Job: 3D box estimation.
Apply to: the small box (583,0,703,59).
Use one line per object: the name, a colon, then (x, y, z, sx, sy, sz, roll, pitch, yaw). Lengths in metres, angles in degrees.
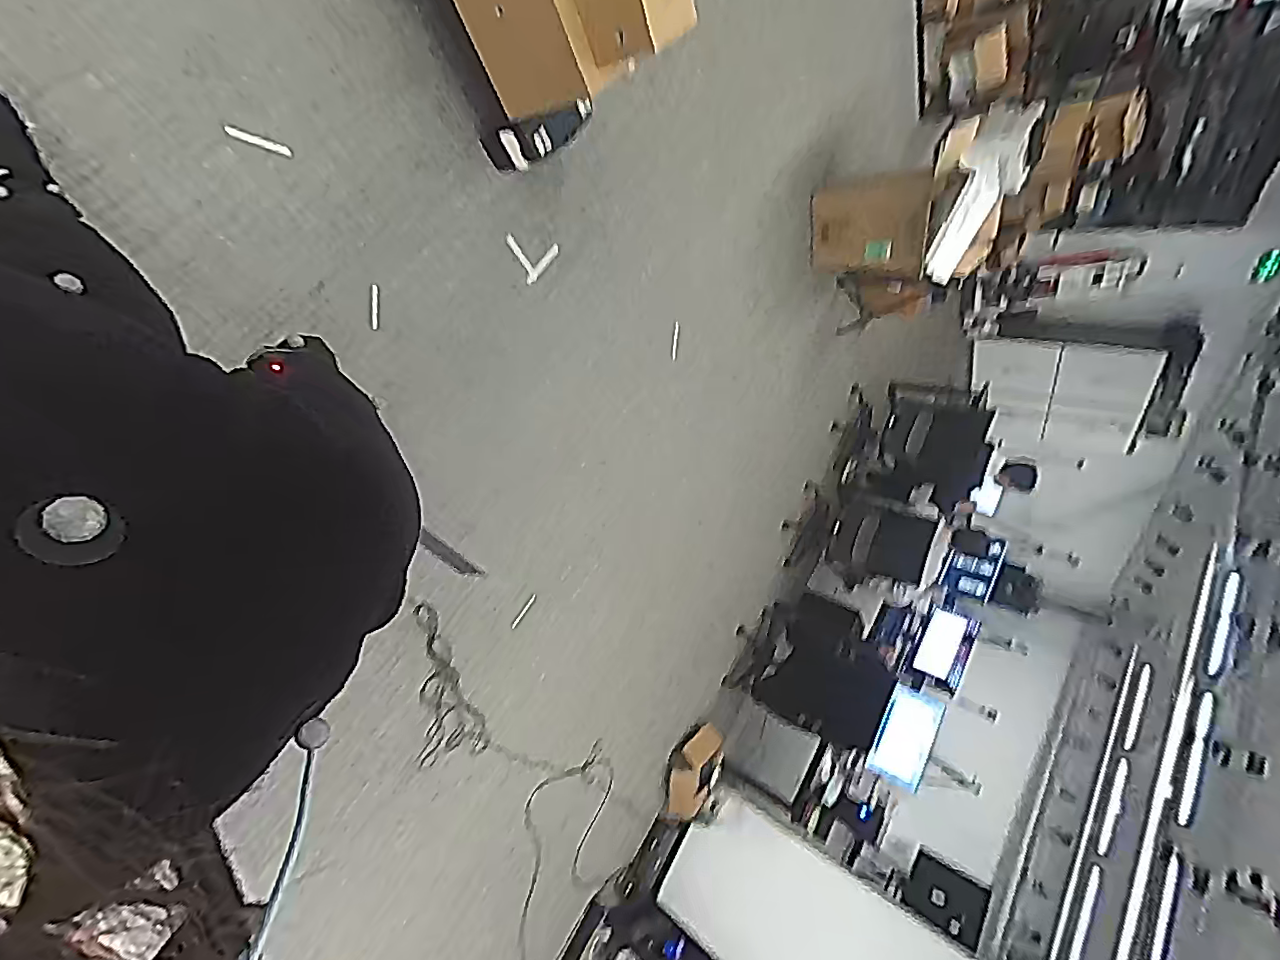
small box: (-0.002, -0.993, 1.098, 0.168, 0.176, 0.179, -51, 137, -24)

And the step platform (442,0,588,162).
step platform: (-0.391, -1.191, 1.330, 0.286, 0.204, 0.684, -51, 137, -23)

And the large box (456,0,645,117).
large box: (-0.202, -1.119, 1.202, 0.320, 0.320, 0.408, -54, 137, -22)
